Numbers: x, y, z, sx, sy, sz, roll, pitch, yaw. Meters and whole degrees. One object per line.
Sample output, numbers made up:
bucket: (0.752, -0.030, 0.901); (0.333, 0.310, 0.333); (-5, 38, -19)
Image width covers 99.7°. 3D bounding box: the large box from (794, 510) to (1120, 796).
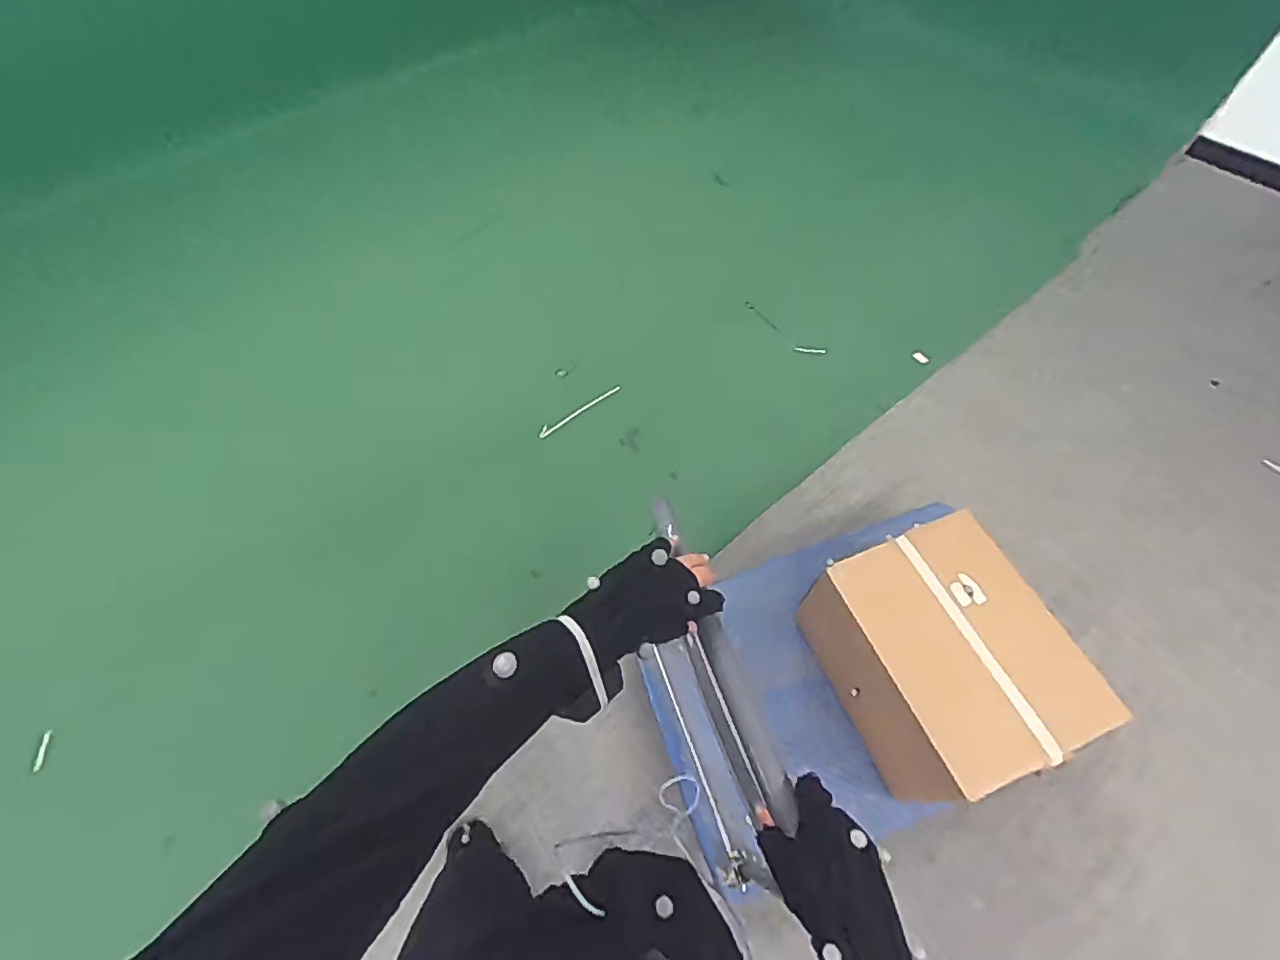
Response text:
large box: (0.560, 0.341, 1.058); (0.320, 0.320, 0.408); (-21, 60, -9)
